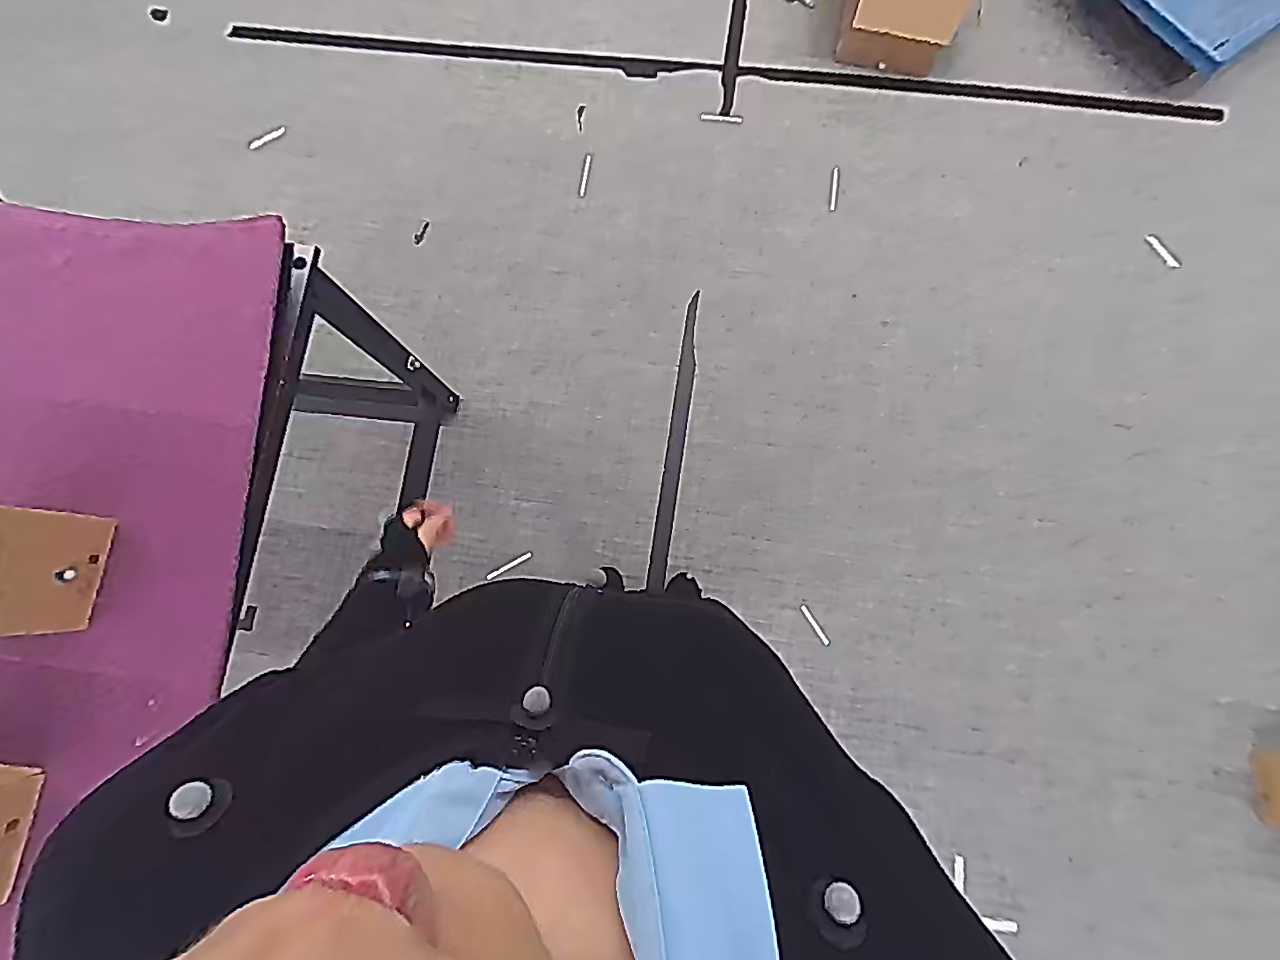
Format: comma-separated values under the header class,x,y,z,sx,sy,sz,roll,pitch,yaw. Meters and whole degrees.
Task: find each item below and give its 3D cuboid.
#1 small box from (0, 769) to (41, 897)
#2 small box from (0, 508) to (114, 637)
class,x,y,z,sx,sy,sz,roll,pitch,yaw
small box,-0.929,0.464,0.664,0.179,0.176,0.168,5,78,1
small box,-0.892,0.119,0.730,0.179,0.176,0.168,6,80,2
